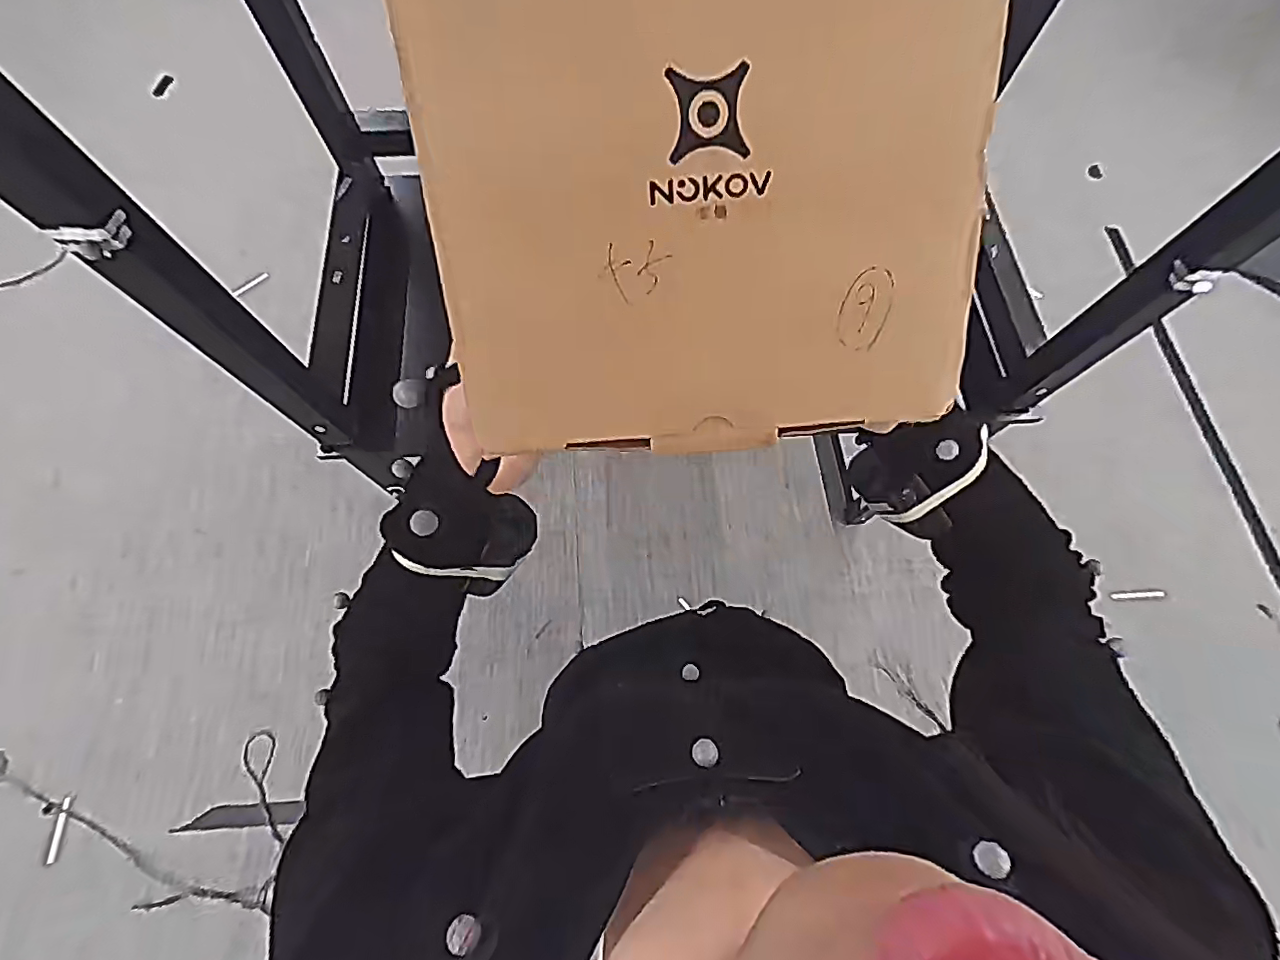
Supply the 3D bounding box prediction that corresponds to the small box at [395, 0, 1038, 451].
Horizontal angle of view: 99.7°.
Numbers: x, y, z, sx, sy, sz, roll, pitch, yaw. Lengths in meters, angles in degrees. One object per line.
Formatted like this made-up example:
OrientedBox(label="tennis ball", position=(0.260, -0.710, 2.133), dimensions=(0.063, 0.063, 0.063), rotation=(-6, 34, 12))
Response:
OrientedBox(label="small box", position=(0.018, -0.125, 0.222), dimensions=(0.168, 0.176, 0.179), rotation=(-5, 112, -2))
